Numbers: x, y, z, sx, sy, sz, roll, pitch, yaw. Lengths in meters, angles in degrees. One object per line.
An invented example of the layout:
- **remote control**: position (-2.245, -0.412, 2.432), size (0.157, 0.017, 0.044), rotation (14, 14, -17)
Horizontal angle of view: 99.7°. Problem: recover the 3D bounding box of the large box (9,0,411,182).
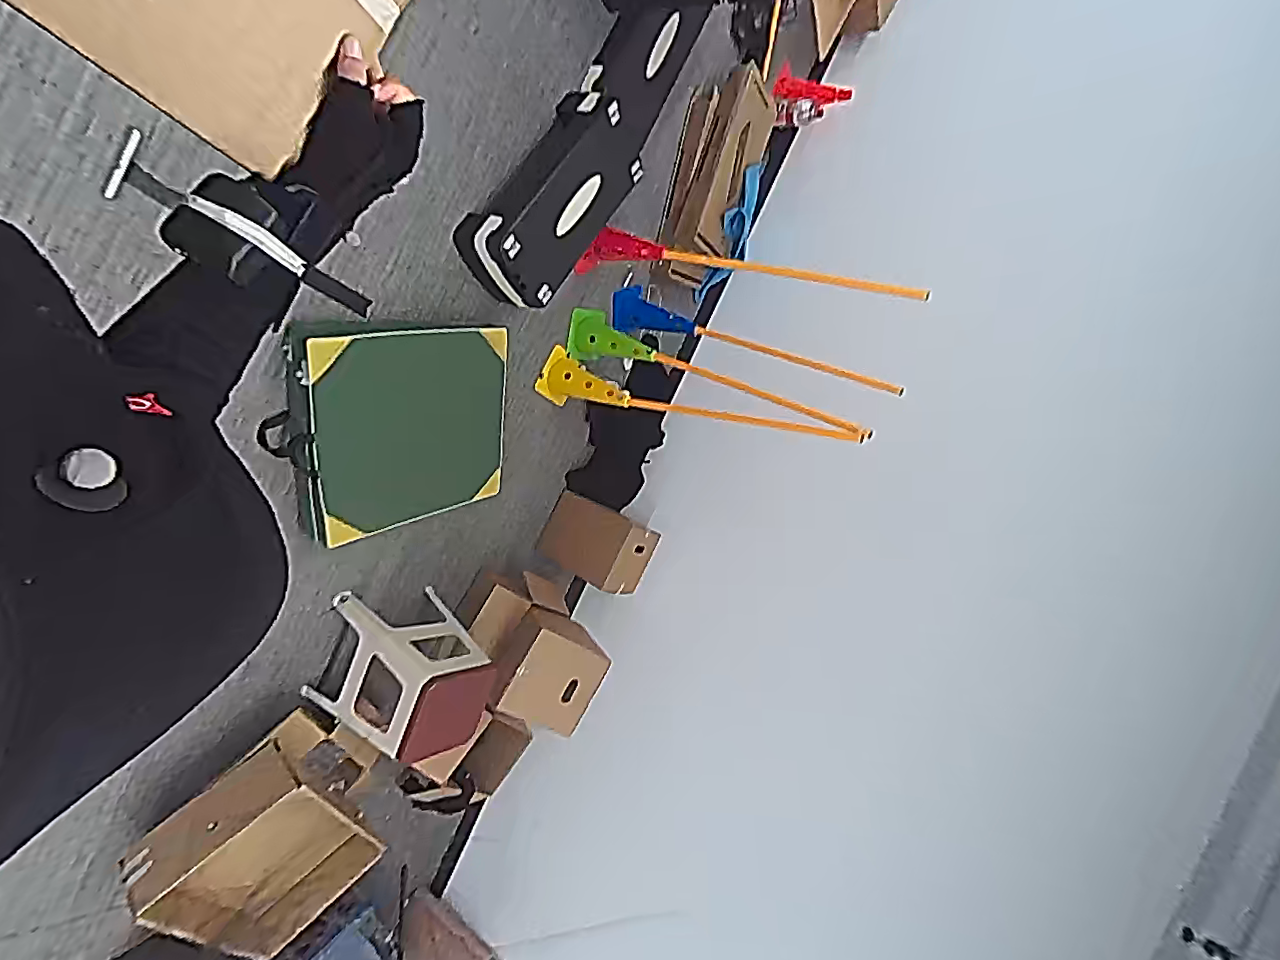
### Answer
- **large box**: position (-0.386, -0.490, 0.333), size (0.320, 0.320, 0.408), rotation (-52, 150, 5)
